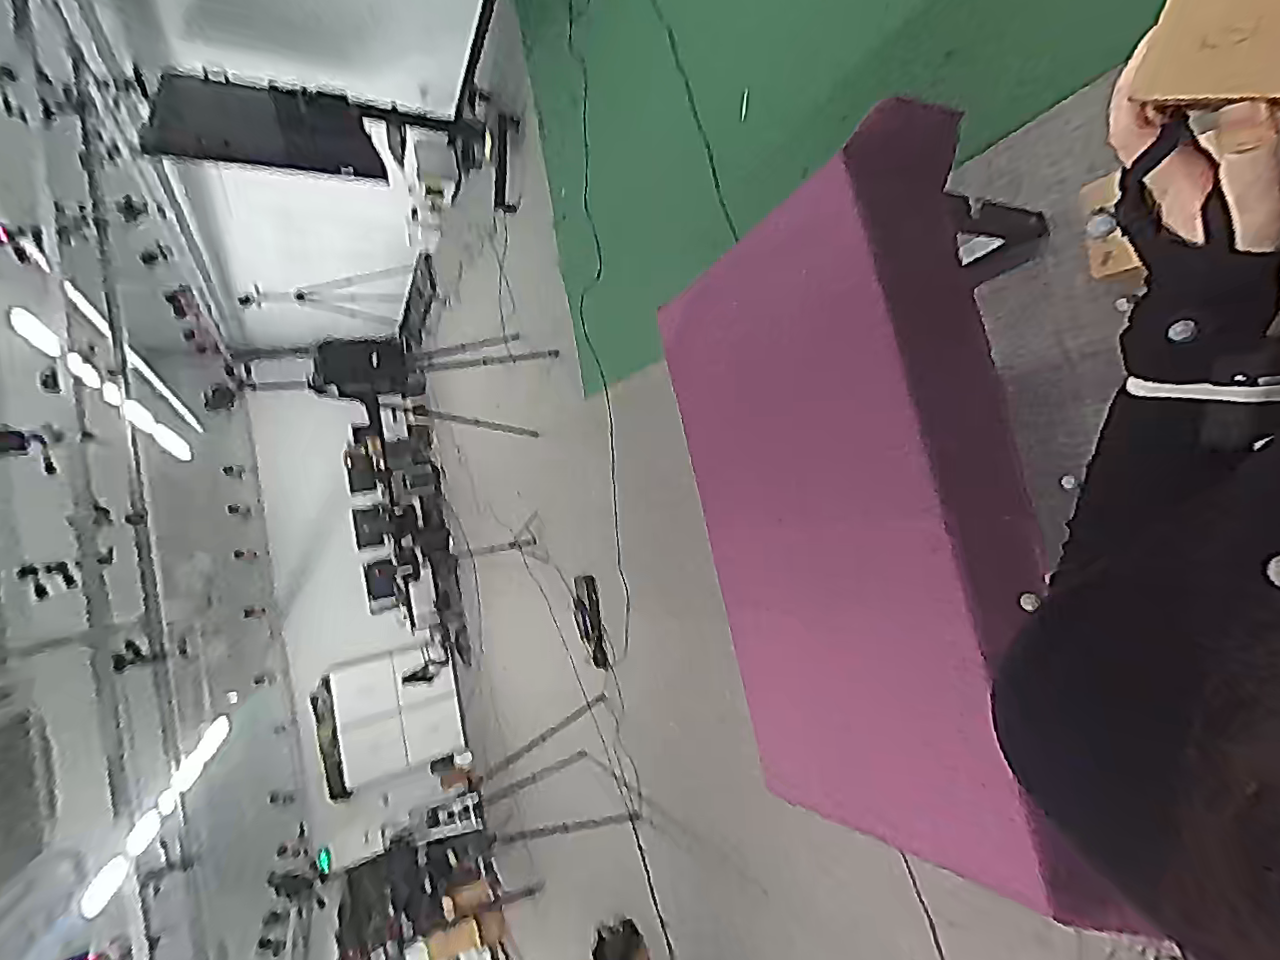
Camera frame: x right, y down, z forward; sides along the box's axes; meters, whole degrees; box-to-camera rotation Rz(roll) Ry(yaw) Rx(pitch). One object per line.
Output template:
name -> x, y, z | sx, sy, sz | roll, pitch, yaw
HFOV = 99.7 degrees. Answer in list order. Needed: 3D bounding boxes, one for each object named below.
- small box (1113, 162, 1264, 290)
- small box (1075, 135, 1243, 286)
small box -> 1.034, -0.467, 1.022 | 0.179, 0.176, 0.168 | 1, 98, 60
small box -> 0.895, -0.450, 0.932 | 0.179, 0.176, 0.168 | -6, 90, 58
